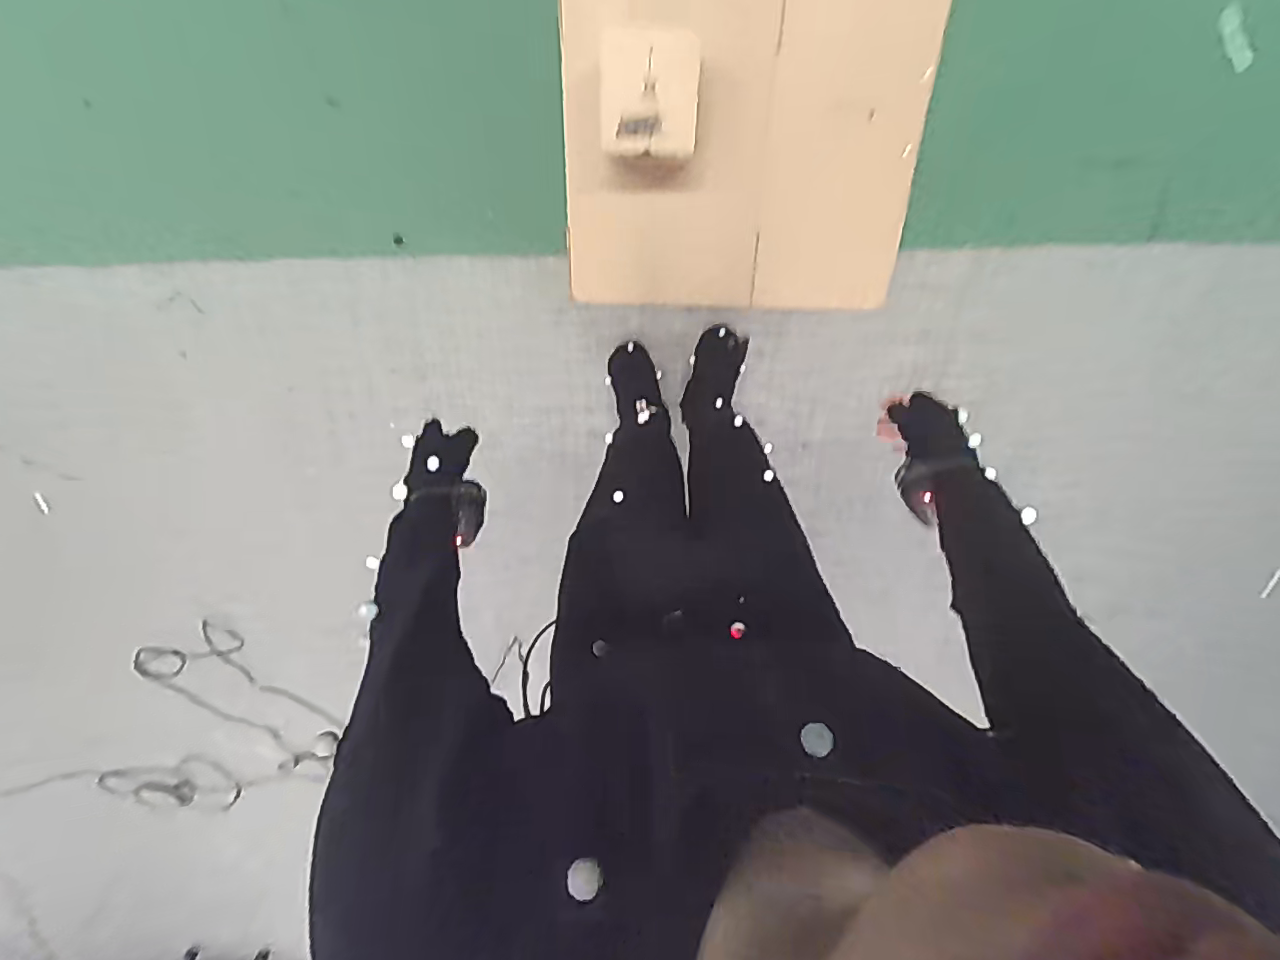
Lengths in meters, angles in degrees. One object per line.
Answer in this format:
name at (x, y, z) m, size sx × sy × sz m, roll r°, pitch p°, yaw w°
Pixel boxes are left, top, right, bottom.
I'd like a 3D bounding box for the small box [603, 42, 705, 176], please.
small box at (0.026, -0.659, 0.981) m, size 0.168 × 0.176 × 0.179 m, roll 4°, pitch 115°, yaw 1°
